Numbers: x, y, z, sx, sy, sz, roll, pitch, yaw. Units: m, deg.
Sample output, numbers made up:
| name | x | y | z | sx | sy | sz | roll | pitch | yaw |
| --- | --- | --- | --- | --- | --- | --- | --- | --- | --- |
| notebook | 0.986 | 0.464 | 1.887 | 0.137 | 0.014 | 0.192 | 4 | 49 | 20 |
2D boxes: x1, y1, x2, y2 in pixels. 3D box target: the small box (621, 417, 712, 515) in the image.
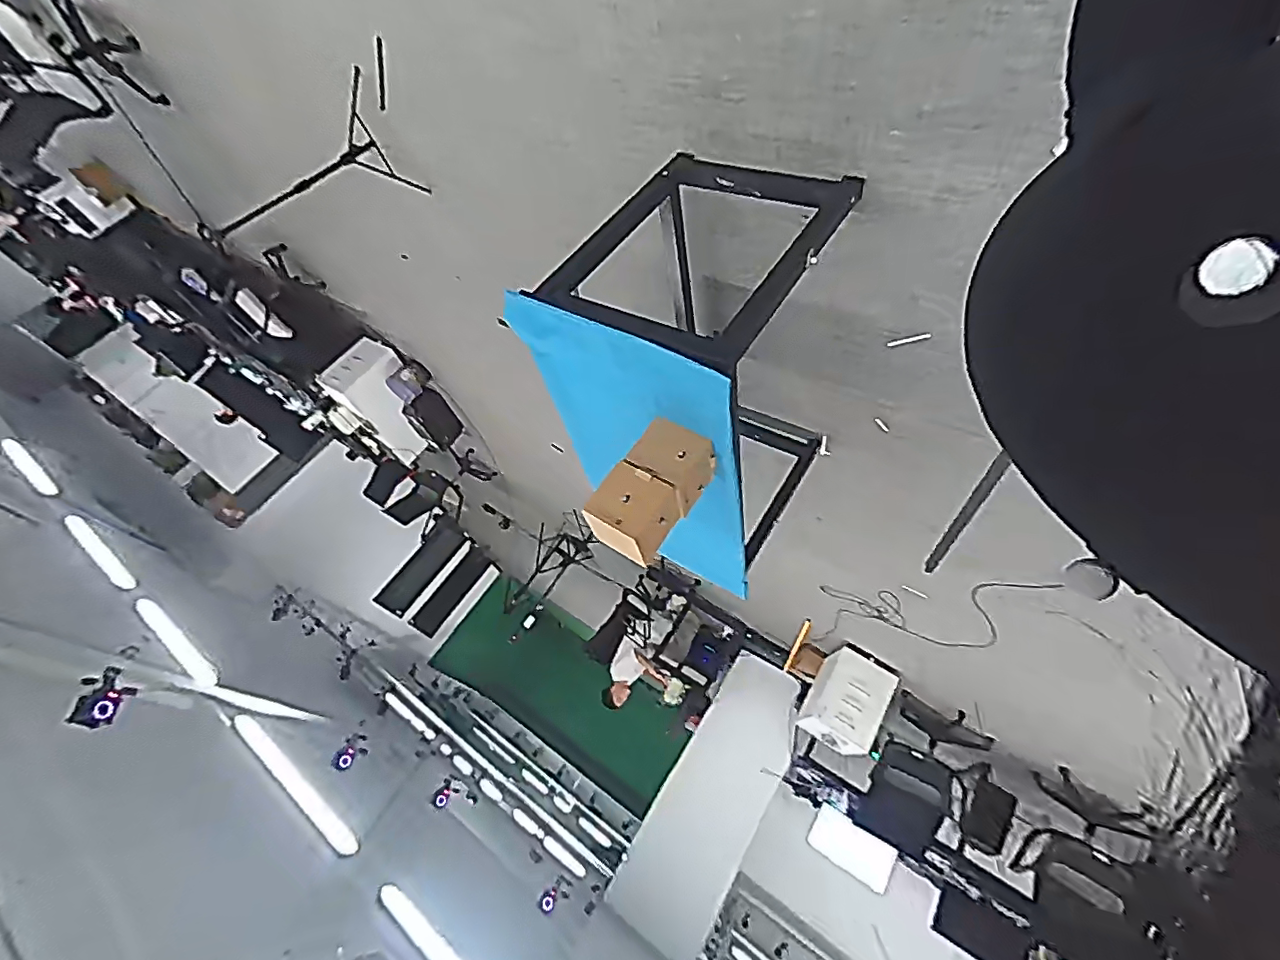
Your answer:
| name | x | y | z | sx | sy | sz | roll | pitch | yaw |
| --- | --- | --- | --- | --- | --- | --- | --- | --- | --- |
| small box | 0.072 | -0.033 | 1.443 | 0.179 | 0.176 | 0.168 | 26 | 155 | 25 |

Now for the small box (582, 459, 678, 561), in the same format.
| name | x | y | z | sx | sy | sz | roll | pitch | yaw |
| --- | --- | --- | --- | --- | --- | --- | --- | --- | --- |
| small box | -0.025 | 0.083 | 1.379 | 0.168 | 0.176 | 0.179 | 28 | 159 | 24 |
